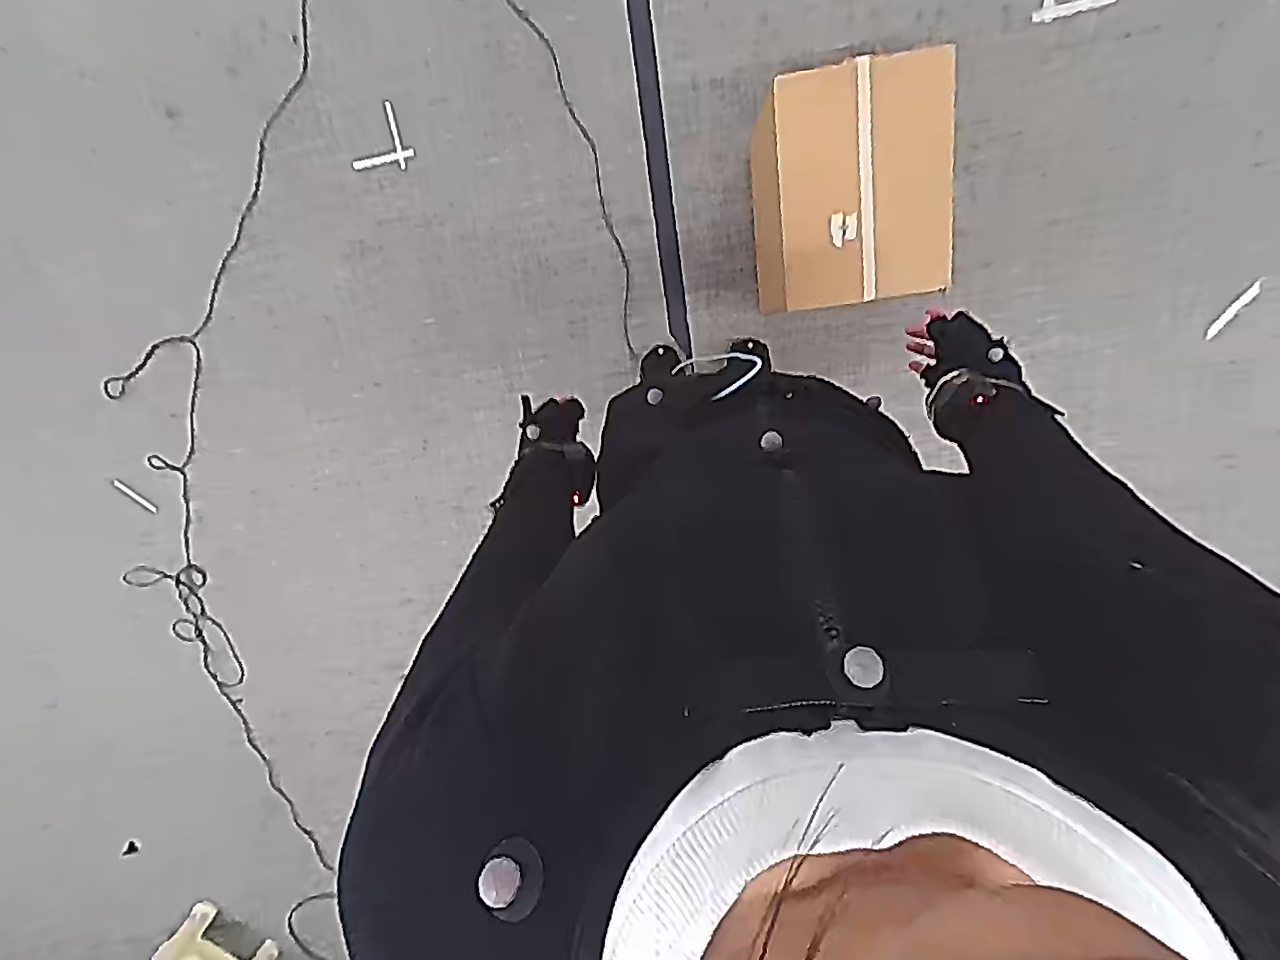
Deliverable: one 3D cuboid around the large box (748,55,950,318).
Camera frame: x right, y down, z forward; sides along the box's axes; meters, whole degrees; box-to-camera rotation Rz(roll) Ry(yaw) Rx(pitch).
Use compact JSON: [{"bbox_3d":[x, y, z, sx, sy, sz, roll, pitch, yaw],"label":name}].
[{"bbox_3d":[0.422,-0.574,1.146,0.320,0.320,0.408,-7,106,6],"label":"large box"}]
